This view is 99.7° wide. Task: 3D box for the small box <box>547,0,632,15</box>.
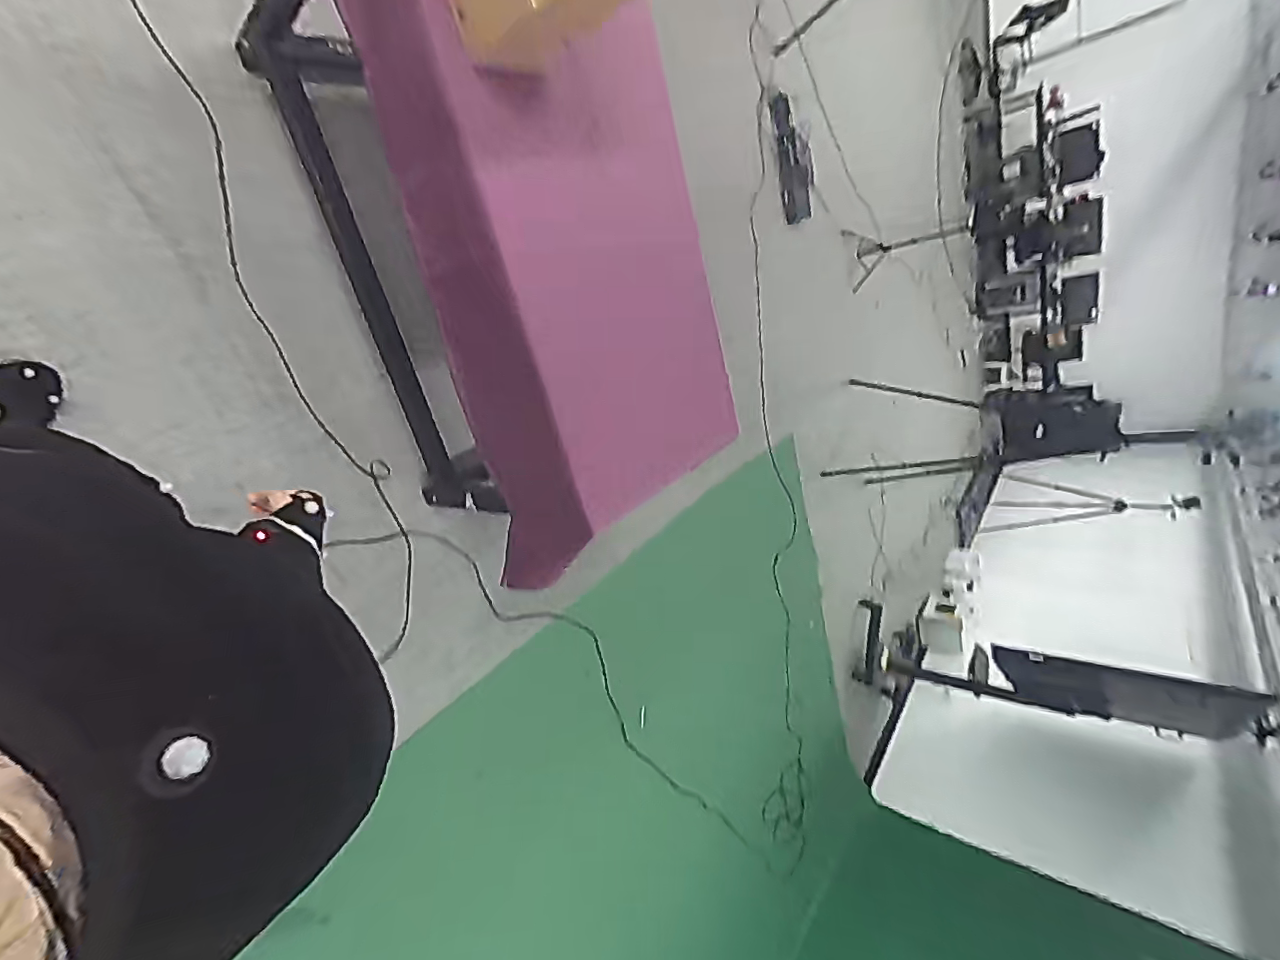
[{"bbox_3d":[-0.052,-0.780,0.739,0.179,0.176,0.168,-38,119,-41],"label":"small box"}]
